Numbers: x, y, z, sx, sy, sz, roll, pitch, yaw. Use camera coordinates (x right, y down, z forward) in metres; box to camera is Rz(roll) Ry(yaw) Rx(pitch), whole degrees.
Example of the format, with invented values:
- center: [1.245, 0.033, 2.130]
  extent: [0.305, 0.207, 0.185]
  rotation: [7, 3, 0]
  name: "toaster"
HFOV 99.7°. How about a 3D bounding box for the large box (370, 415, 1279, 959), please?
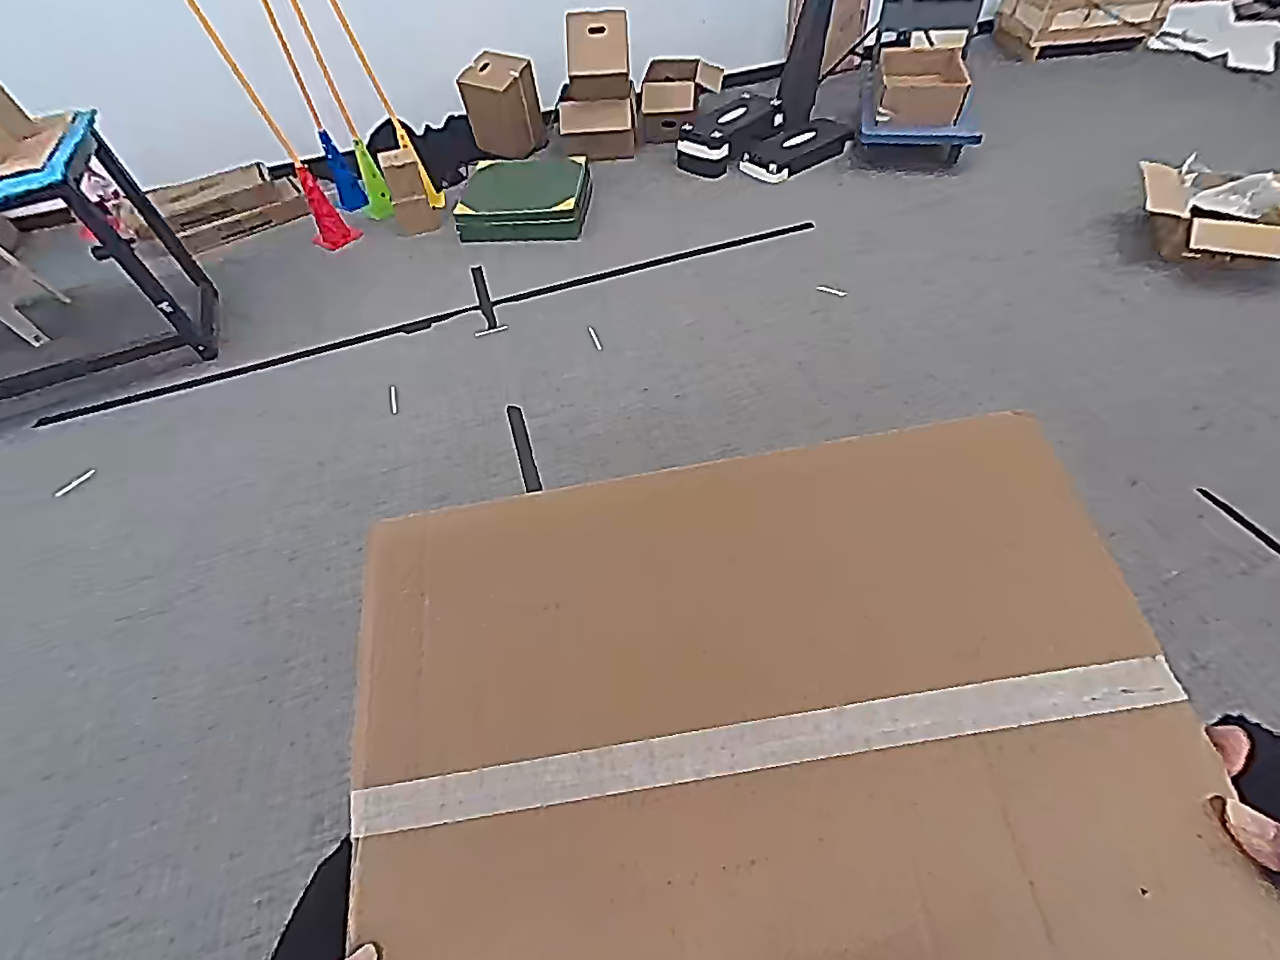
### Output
- center: [0.070, 0.193, 0.414]
  extent: [0.408, 0.320, 0.320]
  rotation: [-10, 66, 1]
  name: "large box"
